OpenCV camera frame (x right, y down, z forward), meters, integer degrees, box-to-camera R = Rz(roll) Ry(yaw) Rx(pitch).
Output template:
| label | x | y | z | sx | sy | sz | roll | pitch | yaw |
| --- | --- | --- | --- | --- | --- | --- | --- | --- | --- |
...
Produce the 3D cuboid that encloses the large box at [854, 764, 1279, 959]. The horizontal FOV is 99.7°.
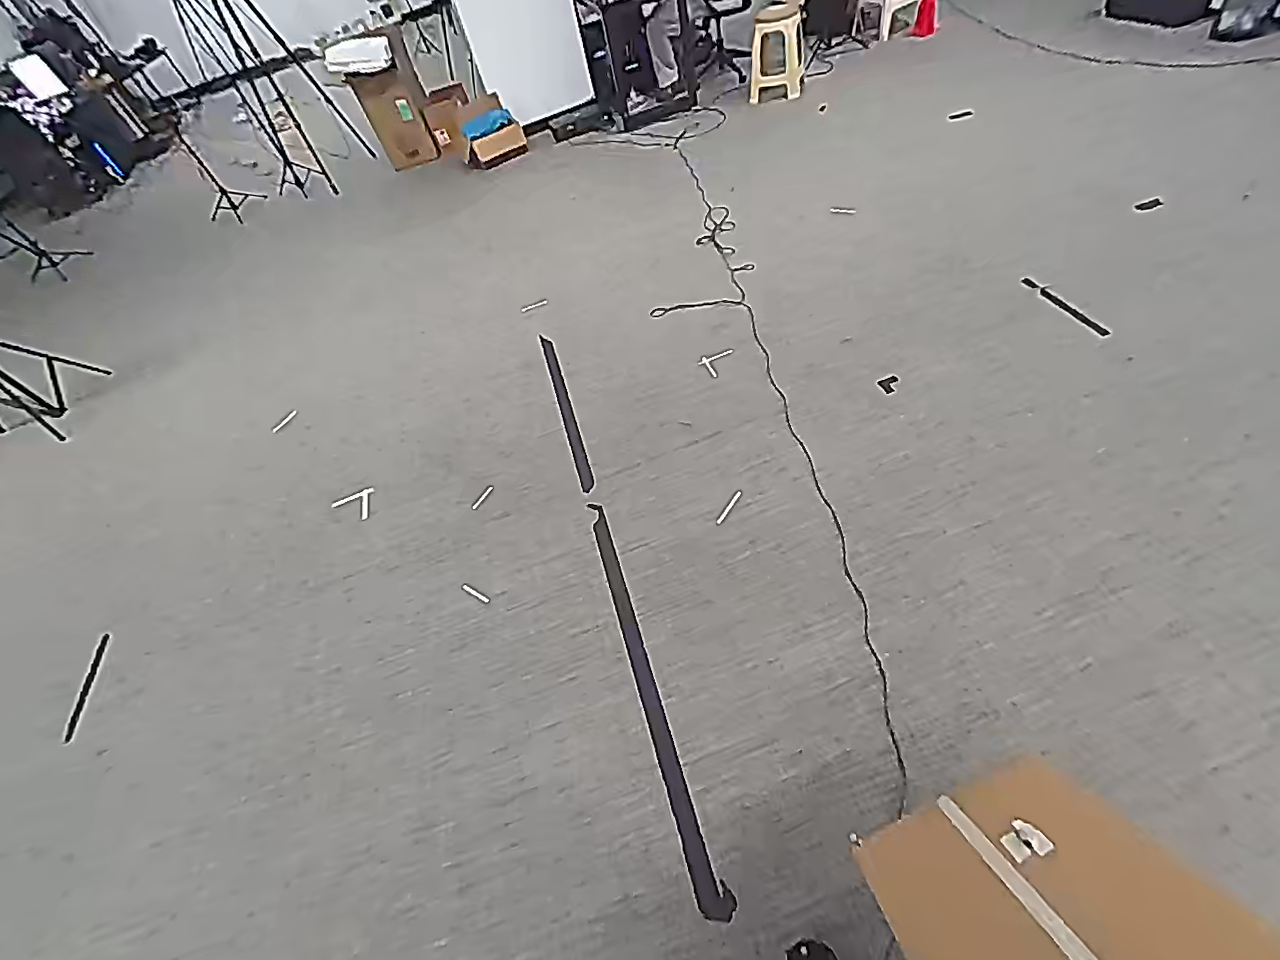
| label | x | y | z | sx | sy | sz | roll | pitch | yaw |
| --- | --- | --- | --- | --- | --- | --- | --- | --- | --- |
| large box | 0.522 | 0.623 | 0.614 | 0.320 | 0.408 | 0.320 | -28 | 87 | 2 |
